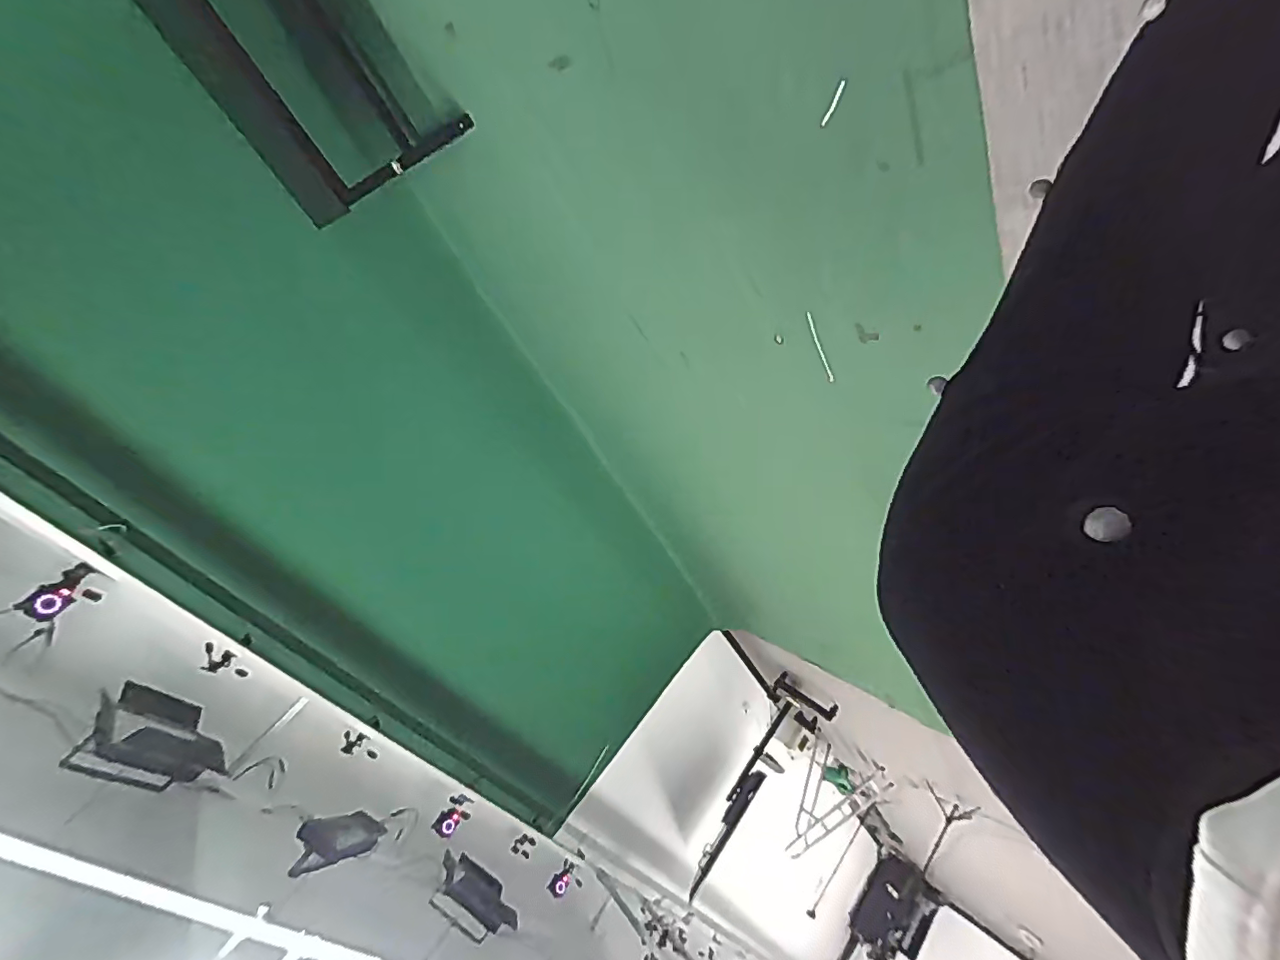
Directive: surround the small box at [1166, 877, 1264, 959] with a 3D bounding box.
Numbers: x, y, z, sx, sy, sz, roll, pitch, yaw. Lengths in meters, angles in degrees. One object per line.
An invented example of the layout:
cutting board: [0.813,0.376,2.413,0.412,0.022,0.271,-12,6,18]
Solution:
small box: [1.661,1.306,1.564,0.168,0.176,0.179,14,145,53]
